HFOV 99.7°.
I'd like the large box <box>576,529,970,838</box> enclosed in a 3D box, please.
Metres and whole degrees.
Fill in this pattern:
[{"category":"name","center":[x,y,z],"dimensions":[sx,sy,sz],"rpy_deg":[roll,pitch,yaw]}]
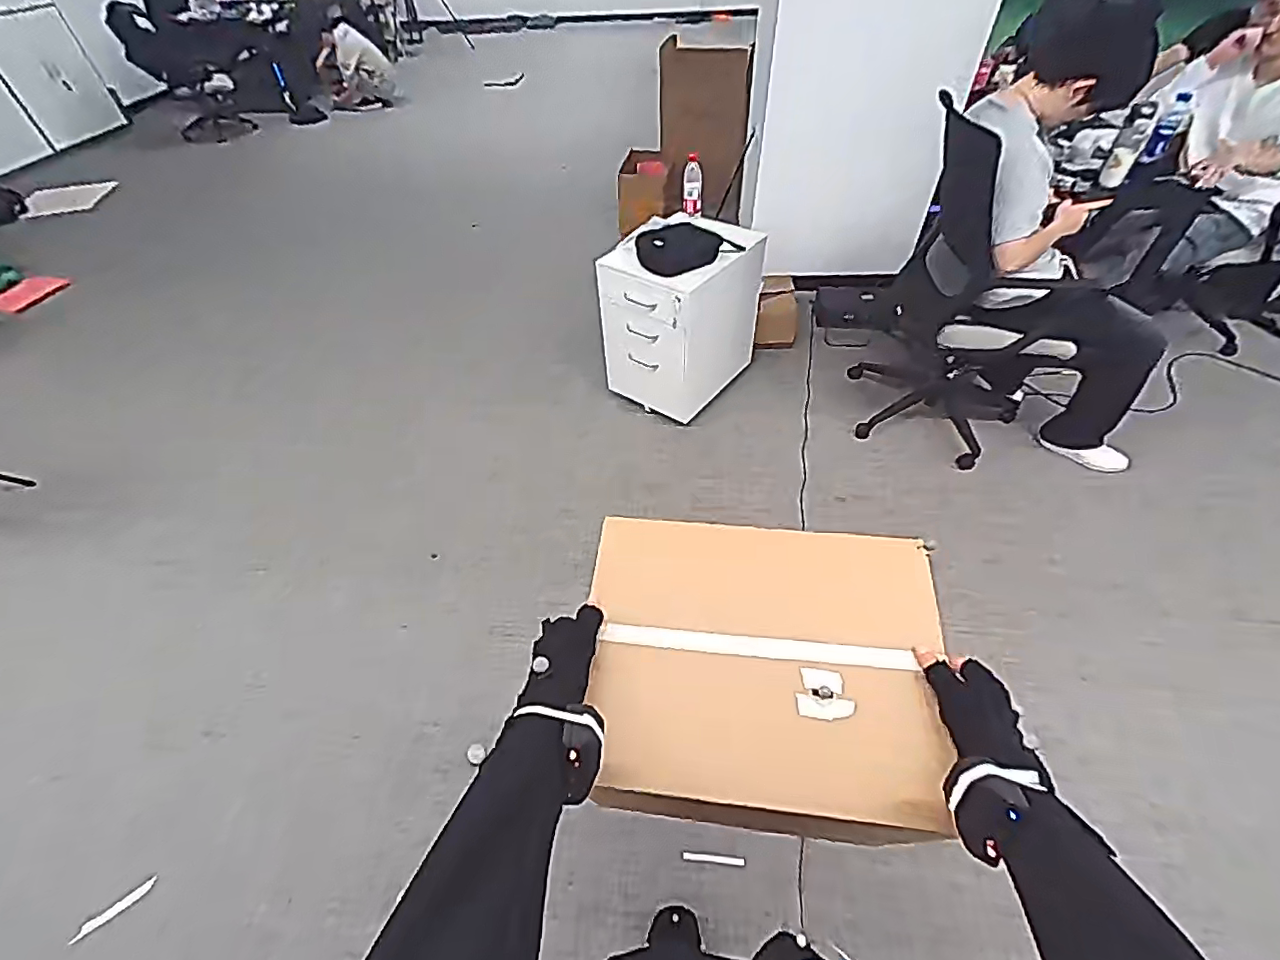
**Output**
[{"category":"large box","center":[0.149,0.288,0.752],"dimensions":[0.408,0.320,0.320],"rpy_deg":[4,56,6]}]
